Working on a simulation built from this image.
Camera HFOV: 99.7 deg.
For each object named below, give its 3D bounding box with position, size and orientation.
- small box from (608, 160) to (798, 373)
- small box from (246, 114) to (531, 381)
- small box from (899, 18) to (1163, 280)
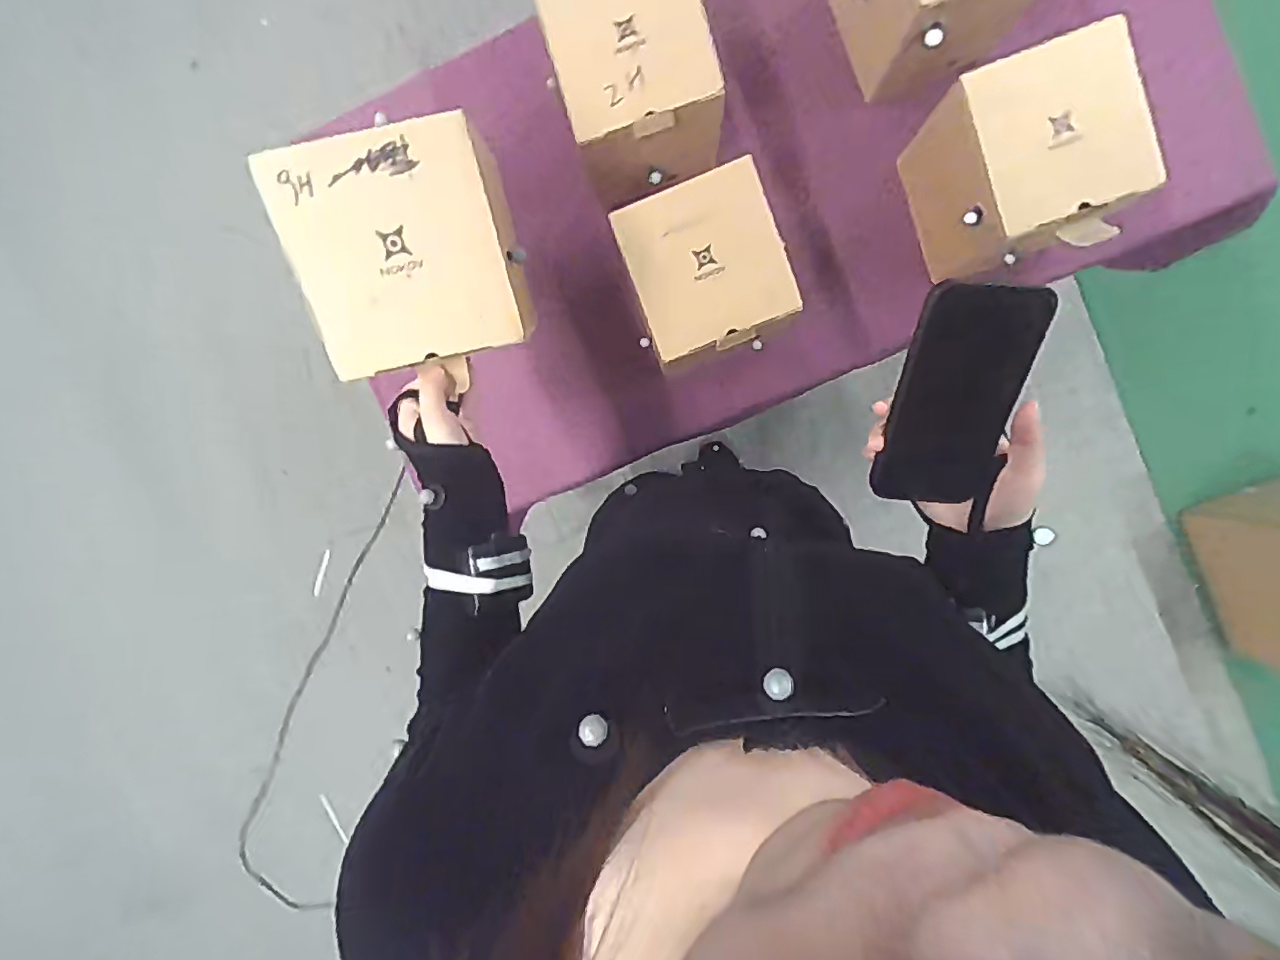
[{"bbox_3d":[0.075,-0.241,0.667,0.168,0.176,0.179,-21,91,5],"label":"small box"},{"bbox_3d":[-0.206,-0.209,0.508,0.168,0.176,0.179,-13,112,-2],"label":"small box"},{"bbox_3d":[0.432,-0.363,0.630,0.168,0.176,0.179,-19,93,6],"label":"small box"}]
